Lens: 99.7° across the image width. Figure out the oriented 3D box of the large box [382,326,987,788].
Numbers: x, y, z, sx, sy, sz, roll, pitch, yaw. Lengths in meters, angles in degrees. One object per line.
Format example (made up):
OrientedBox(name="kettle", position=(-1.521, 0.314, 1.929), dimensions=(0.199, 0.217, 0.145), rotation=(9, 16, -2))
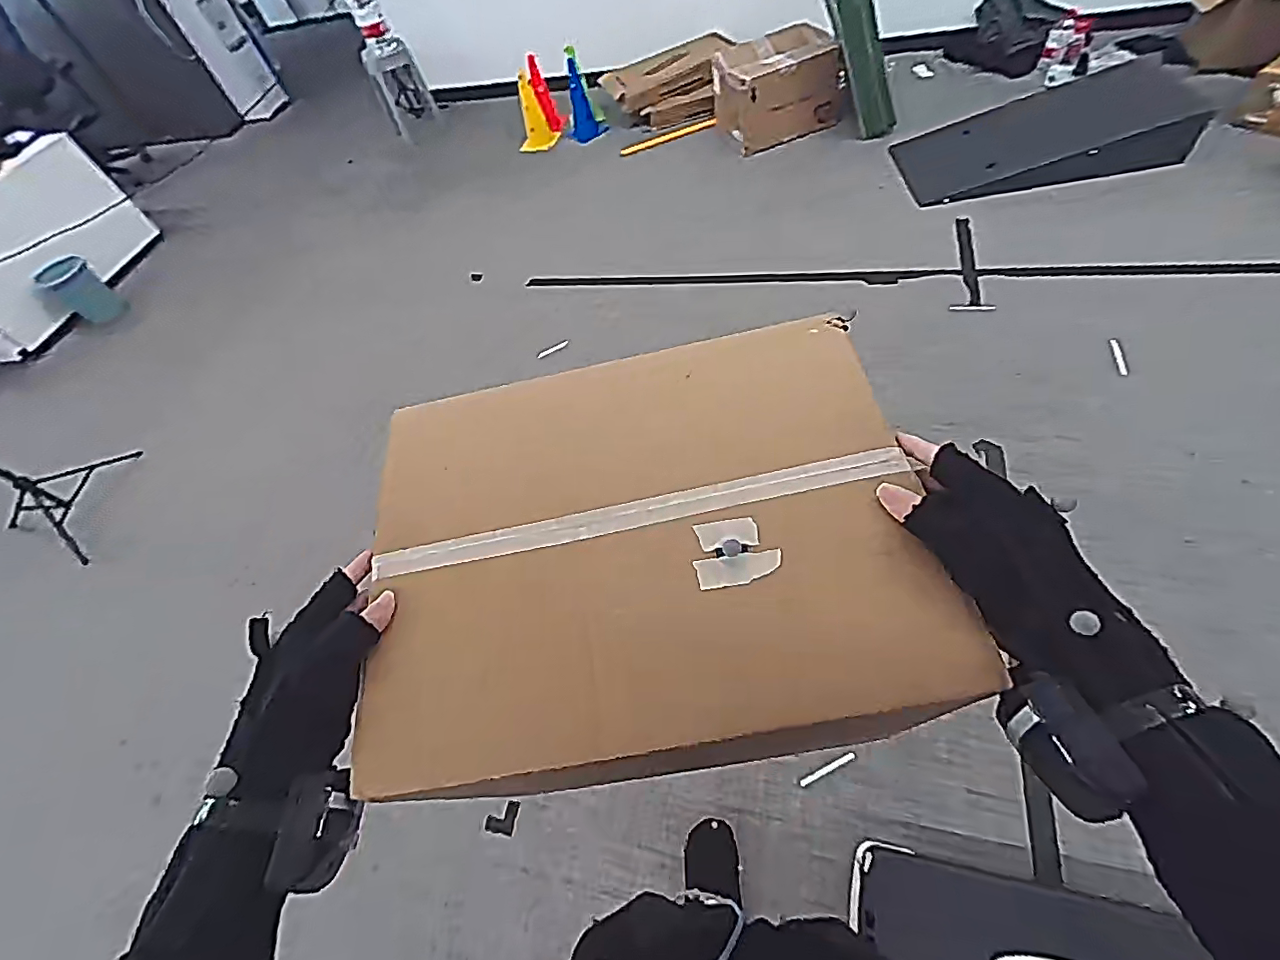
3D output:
OrientedBox(name="large box", position=(0.023, 0.103, 0.546), dimensions=(0.408, 0.320, 0.320), rotation=(-11, 60, 4))
